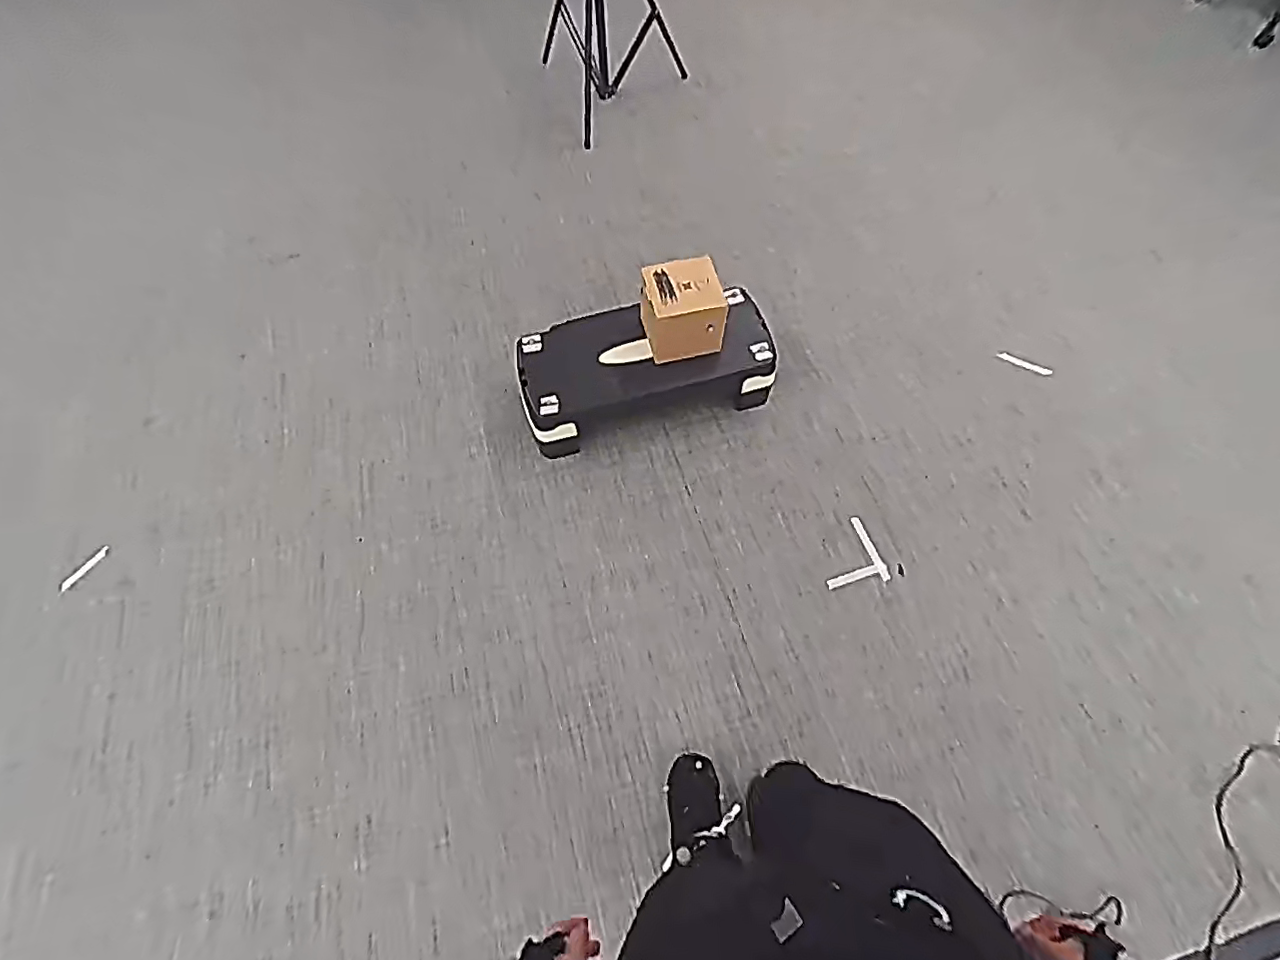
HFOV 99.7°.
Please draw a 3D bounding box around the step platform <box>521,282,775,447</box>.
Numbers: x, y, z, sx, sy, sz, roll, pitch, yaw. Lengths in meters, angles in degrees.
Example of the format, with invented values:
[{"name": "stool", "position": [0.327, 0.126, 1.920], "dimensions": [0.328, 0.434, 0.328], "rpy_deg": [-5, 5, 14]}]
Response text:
[{"name": "step platform", "position": [0.020, -0.324, 1.501], "dimensions": [0.684, 0.204, 0.286], "rpy_deg": [-16, 65, -6]}]
